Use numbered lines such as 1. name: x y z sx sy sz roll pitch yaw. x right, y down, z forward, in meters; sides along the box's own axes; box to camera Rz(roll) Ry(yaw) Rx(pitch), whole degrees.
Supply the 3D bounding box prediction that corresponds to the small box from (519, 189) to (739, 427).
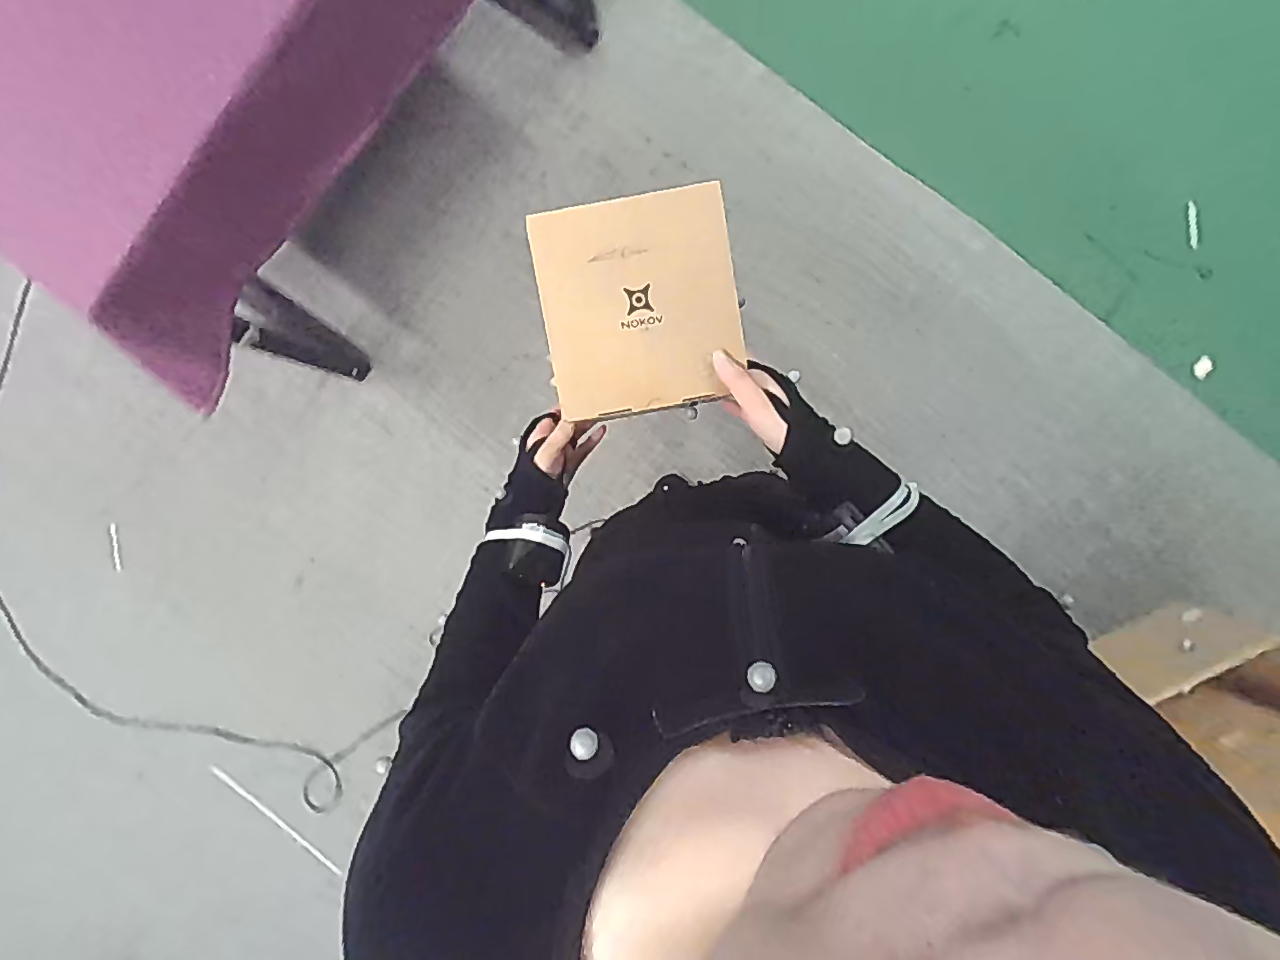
1. small box: -0.008 -0.152 0.537 0.168 0.176 0.179 -10 95 0
